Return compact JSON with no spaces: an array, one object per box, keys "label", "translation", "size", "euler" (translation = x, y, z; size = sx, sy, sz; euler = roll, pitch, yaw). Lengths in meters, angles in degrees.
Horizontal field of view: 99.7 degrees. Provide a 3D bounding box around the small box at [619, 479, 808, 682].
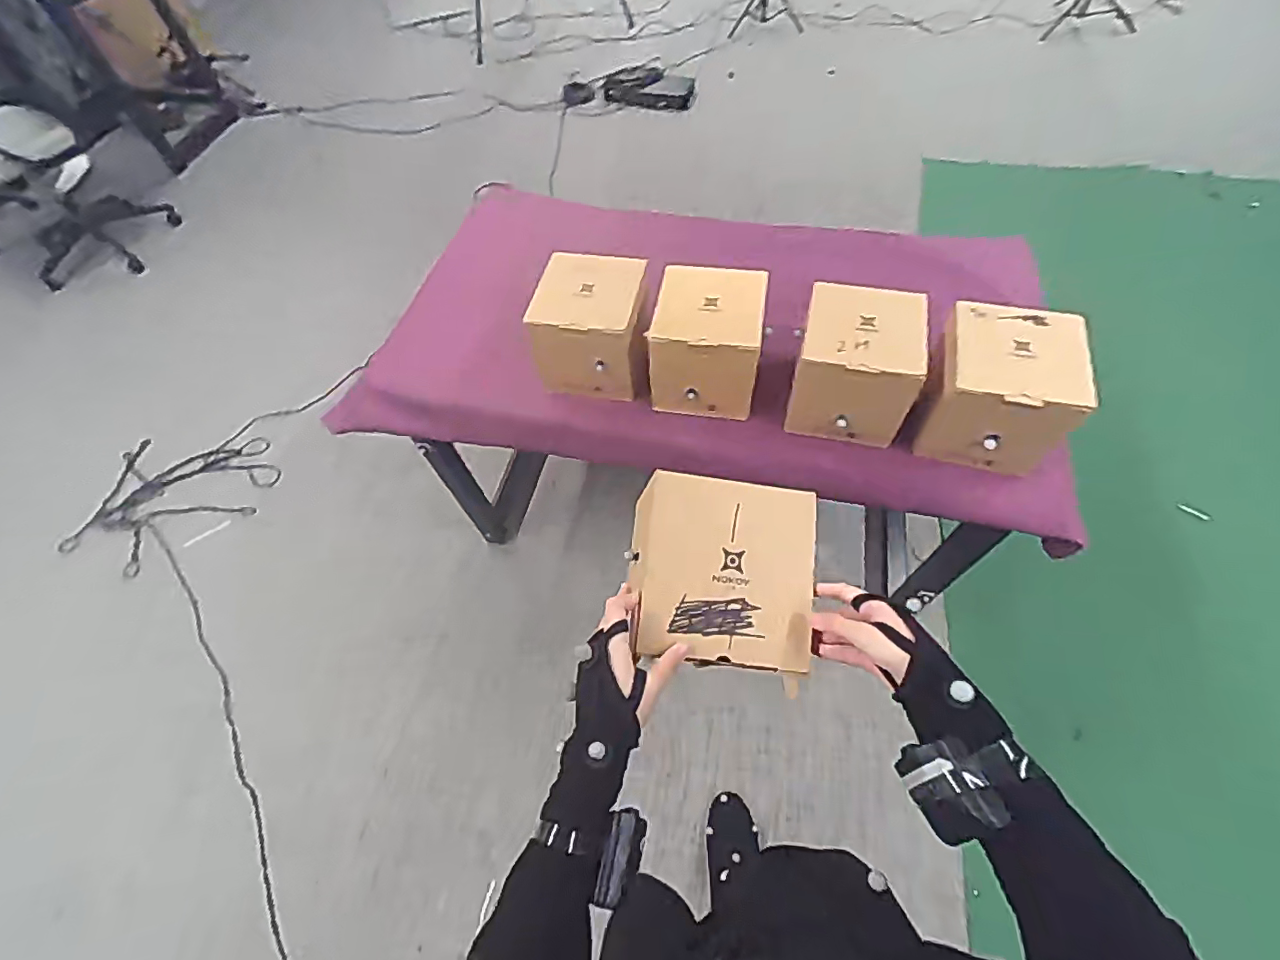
[{"label":"small box","translation":[0.069,0.110,0.586],"size":[0.168,0.176,0.179],"euler":[7,76,-4]}]
